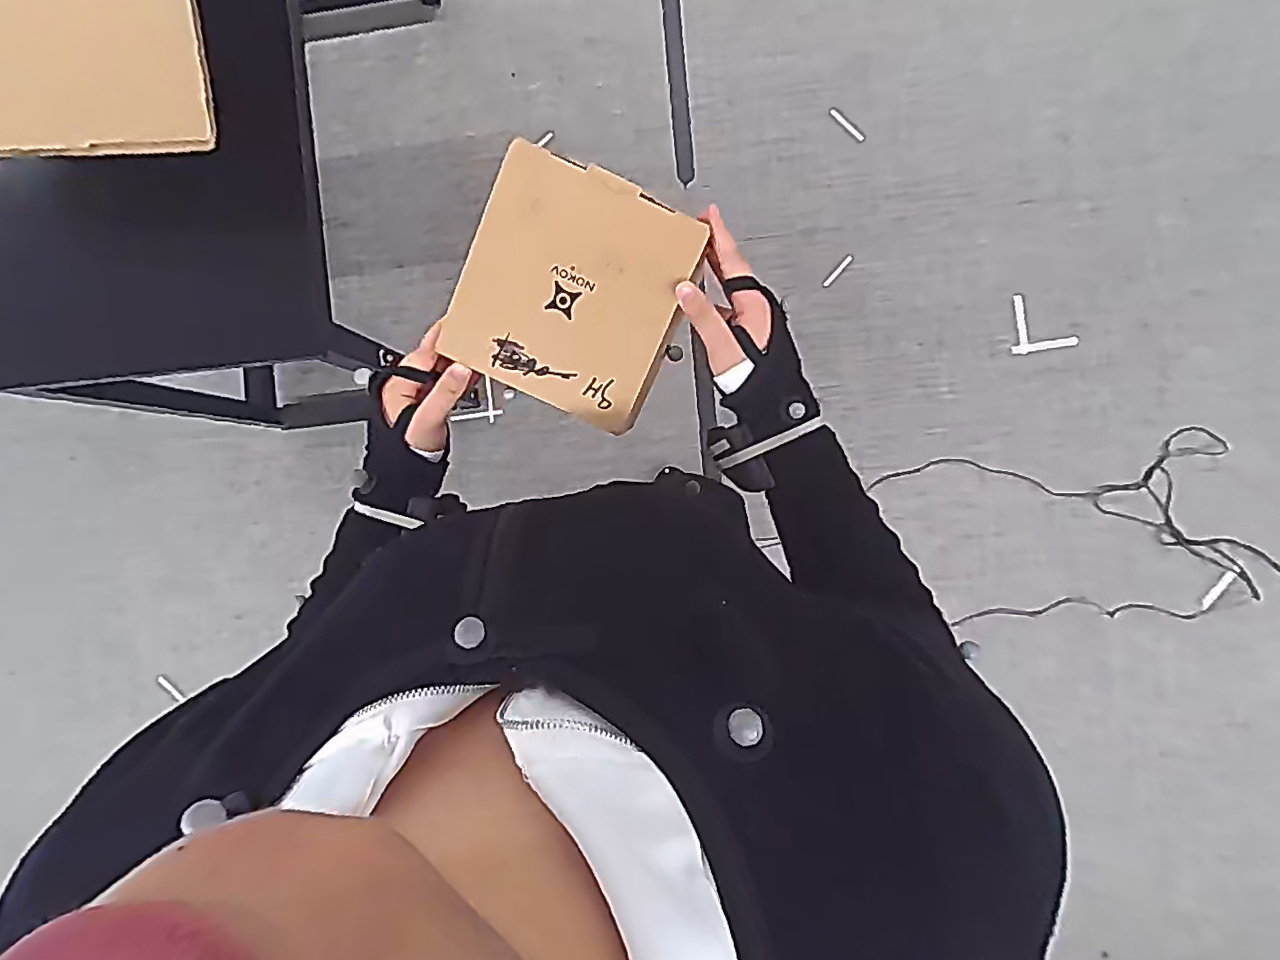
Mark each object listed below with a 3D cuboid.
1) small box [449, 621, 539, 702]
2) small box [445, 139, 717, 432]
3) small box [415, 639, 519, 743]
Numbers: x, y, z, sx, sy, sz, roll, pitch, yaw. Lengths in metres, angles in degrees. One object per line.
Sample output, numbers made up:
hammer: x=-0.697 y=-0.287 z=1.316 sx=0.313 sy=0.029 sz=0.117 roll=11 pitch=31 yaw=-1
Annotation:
small box: x=-0.383 y=0.486 z=1.439 sx=0.179 sy=0.176 sz=0.168 roll=-9 pitch=90 yaw=2
small box: x=-0.045 y=-0.160 z=0.501 sx=0.168 sy=0.176 sz=0.179 roll=25 pitch=99 yaw=0
small box: x=-0.397 y=0.489 z=1.277 sx=0.179 sy=0.176 sz=0.168 roll=-13 pitch=89 yaw=4
